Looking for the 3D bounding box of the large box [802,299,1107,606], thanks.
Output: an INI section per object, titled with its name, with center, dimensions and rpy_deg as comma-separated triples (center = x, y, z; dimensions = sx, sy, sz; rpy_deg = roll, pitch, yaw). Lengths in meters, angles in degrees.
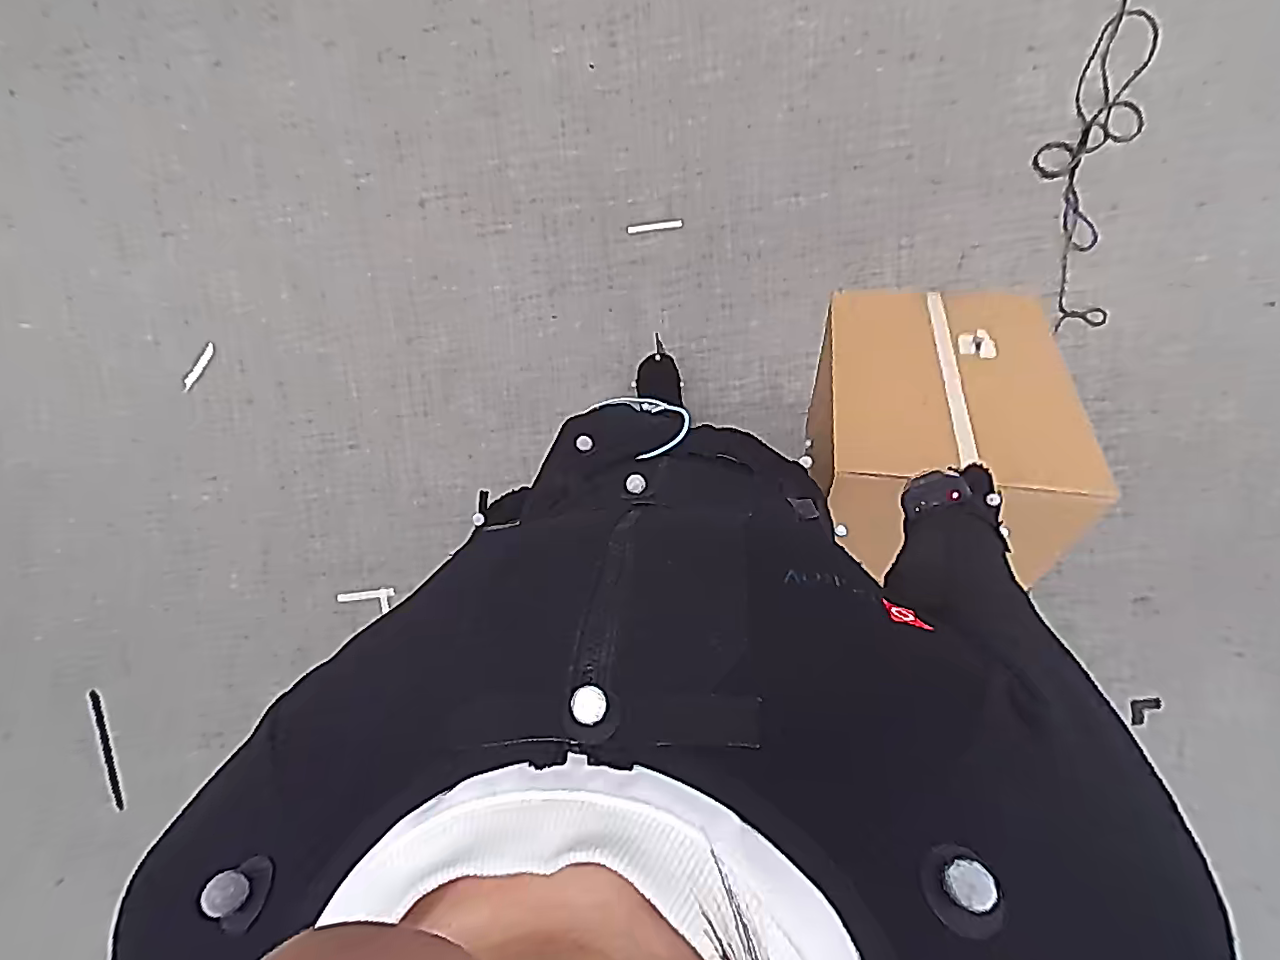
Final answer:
[large box]
center = 0.449, -0.051, 0.897
dimensions = 0.320, 0.408, 0.320
rpy_deg = 6, 140, 10
